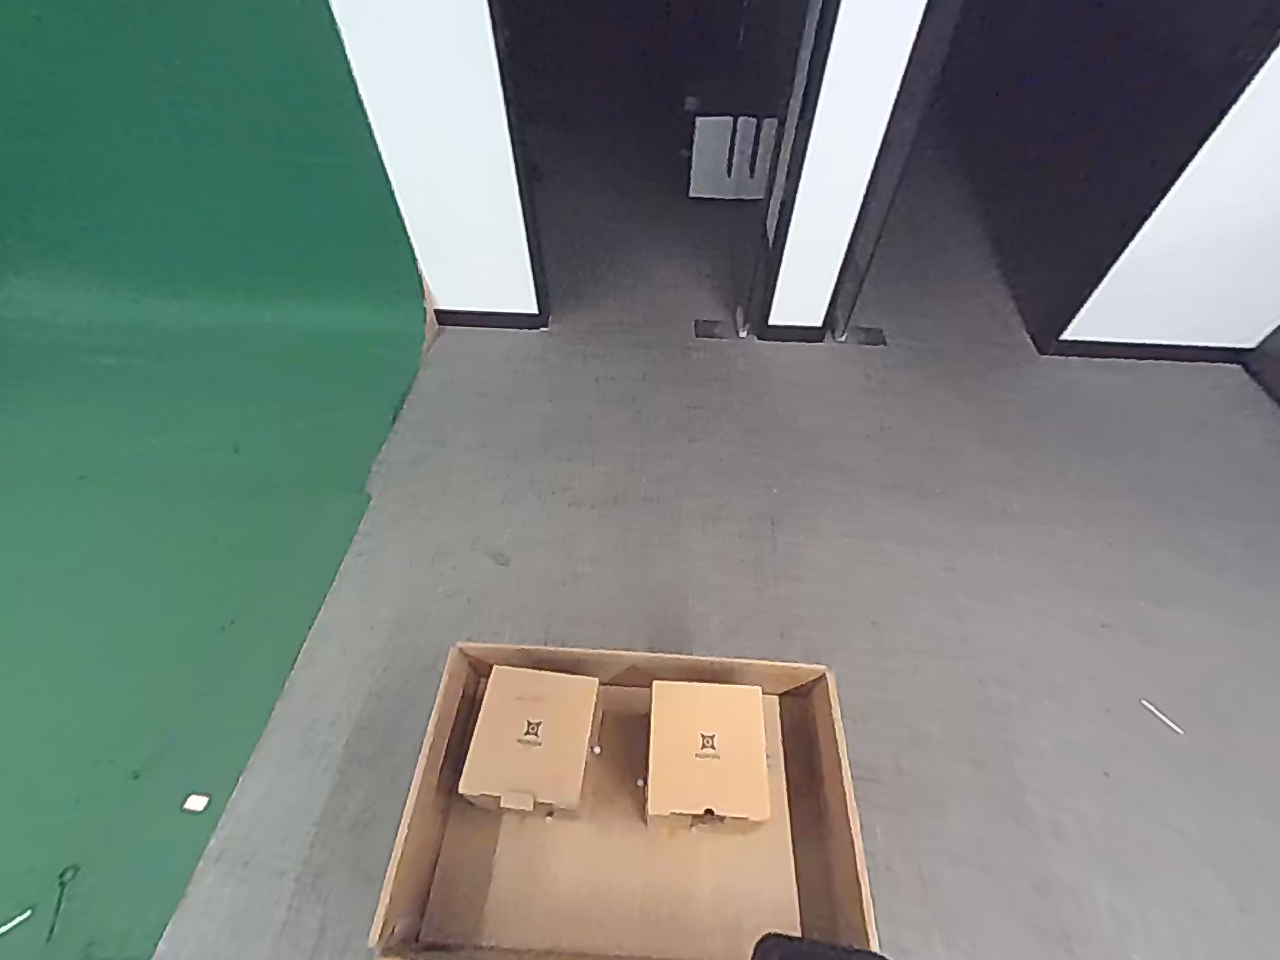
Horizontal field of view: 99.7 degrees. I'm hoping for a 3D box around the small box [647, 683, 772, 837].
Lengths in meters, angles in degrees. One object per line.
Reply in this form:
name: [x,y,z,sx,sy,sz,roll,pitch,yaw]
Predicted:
small box: [0.097,0.427,0.822,0.168,0.176,0.179,2,53,3]
